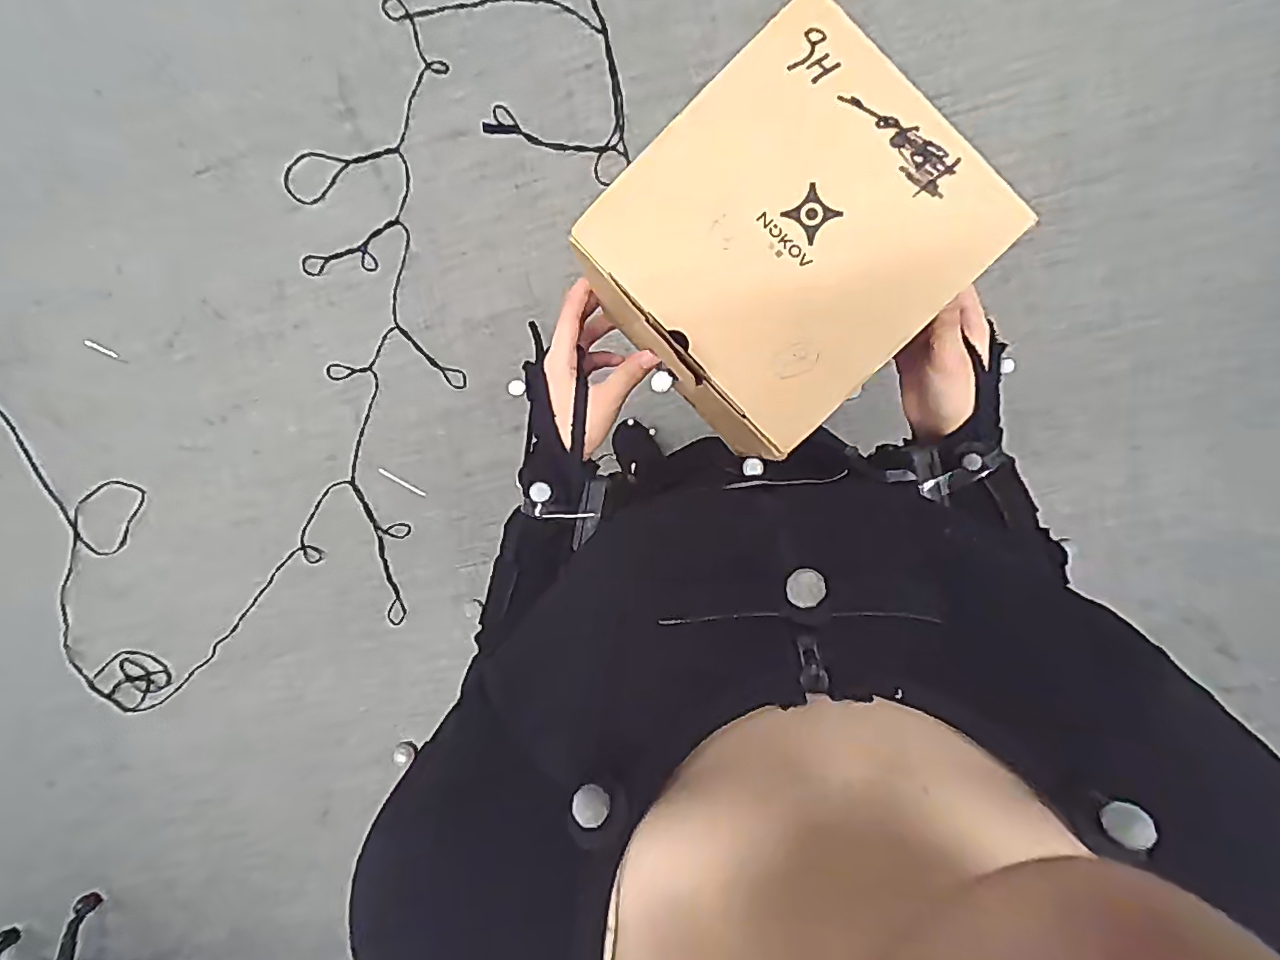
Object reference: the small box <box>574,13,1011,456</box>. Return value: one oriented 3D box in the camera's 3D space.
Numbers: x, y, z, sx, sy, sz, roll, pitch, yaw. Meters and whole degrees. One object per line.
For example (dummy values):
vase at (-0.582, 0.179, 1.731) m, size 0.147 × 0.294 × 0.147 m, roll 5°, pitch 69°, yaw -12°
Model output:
small box at (0.084, -0.132, 0.369) m, size 0.179 × 0.176 × 0.168 m, roll -44°, pitch 90°, yaw 5°
